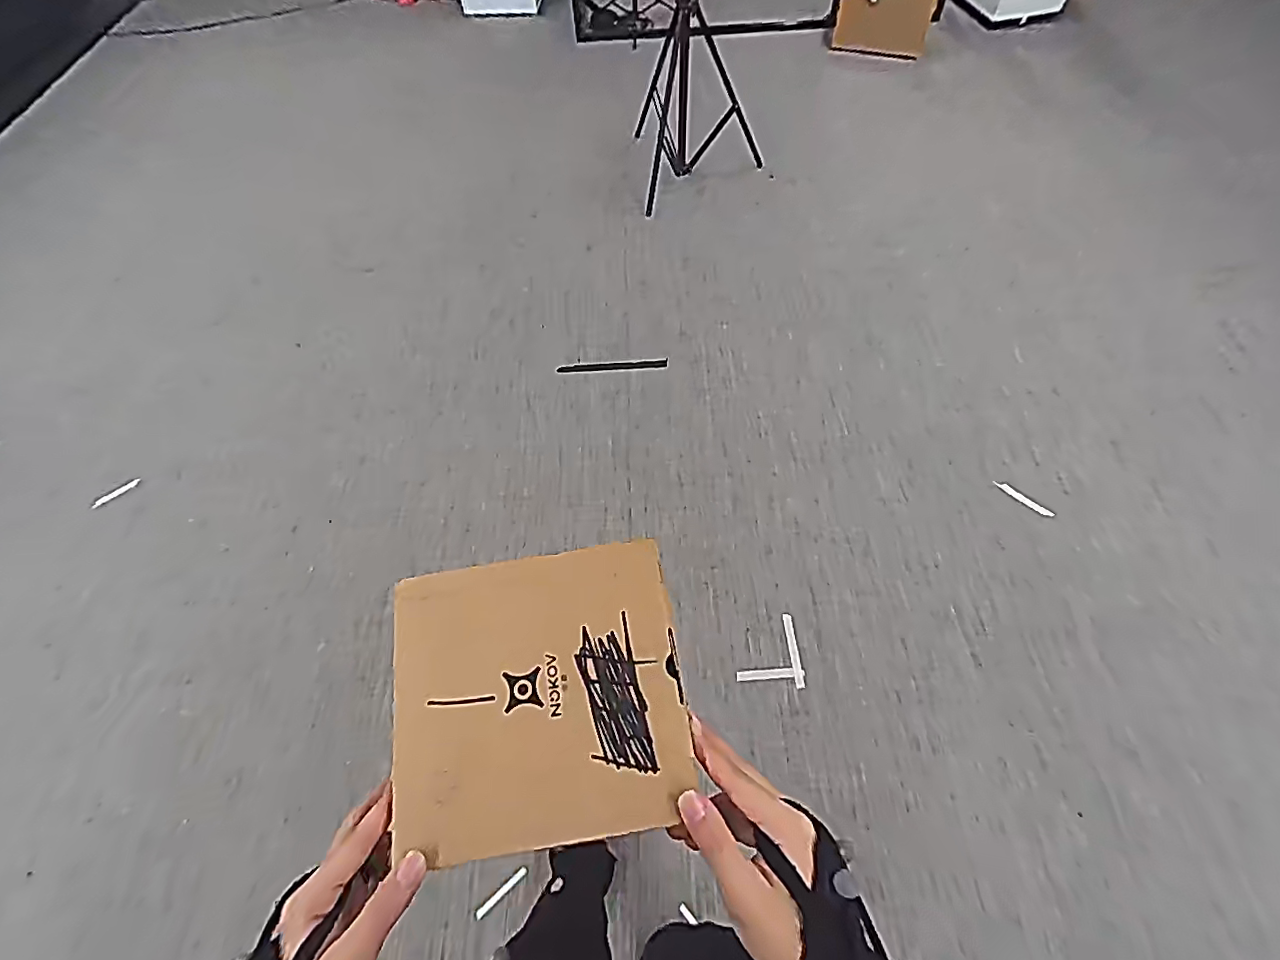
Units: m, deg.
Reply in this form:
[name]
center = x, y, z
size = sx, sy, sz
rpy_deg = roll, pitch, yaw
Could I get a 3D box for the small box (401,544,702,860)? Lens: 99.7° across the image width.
[small box]
center = -0.060, 0.159, 0.412
size = 0.179, 0.176, 0.168
rpy_deg = -9, 67, -2
